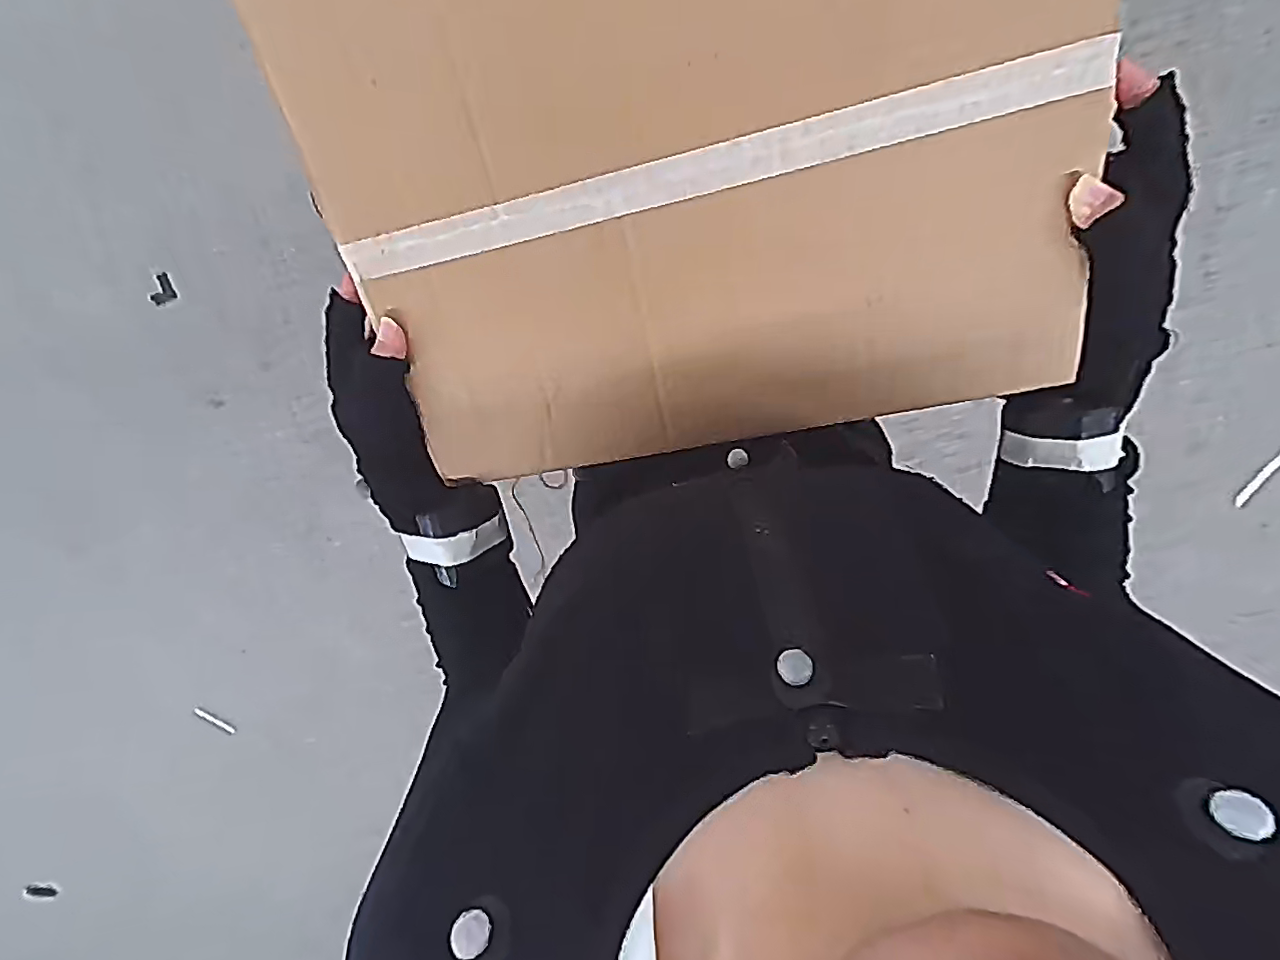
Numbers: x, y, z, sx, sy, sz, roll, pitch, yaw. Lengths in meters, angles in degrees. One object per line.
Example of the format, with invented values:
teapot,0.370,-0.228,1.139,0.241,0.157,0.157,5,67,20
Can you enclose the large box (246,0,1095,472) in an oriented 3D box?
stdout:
large box,0.034,-0.241,0.423,0.408,0.320,0.320,-9,116,10
